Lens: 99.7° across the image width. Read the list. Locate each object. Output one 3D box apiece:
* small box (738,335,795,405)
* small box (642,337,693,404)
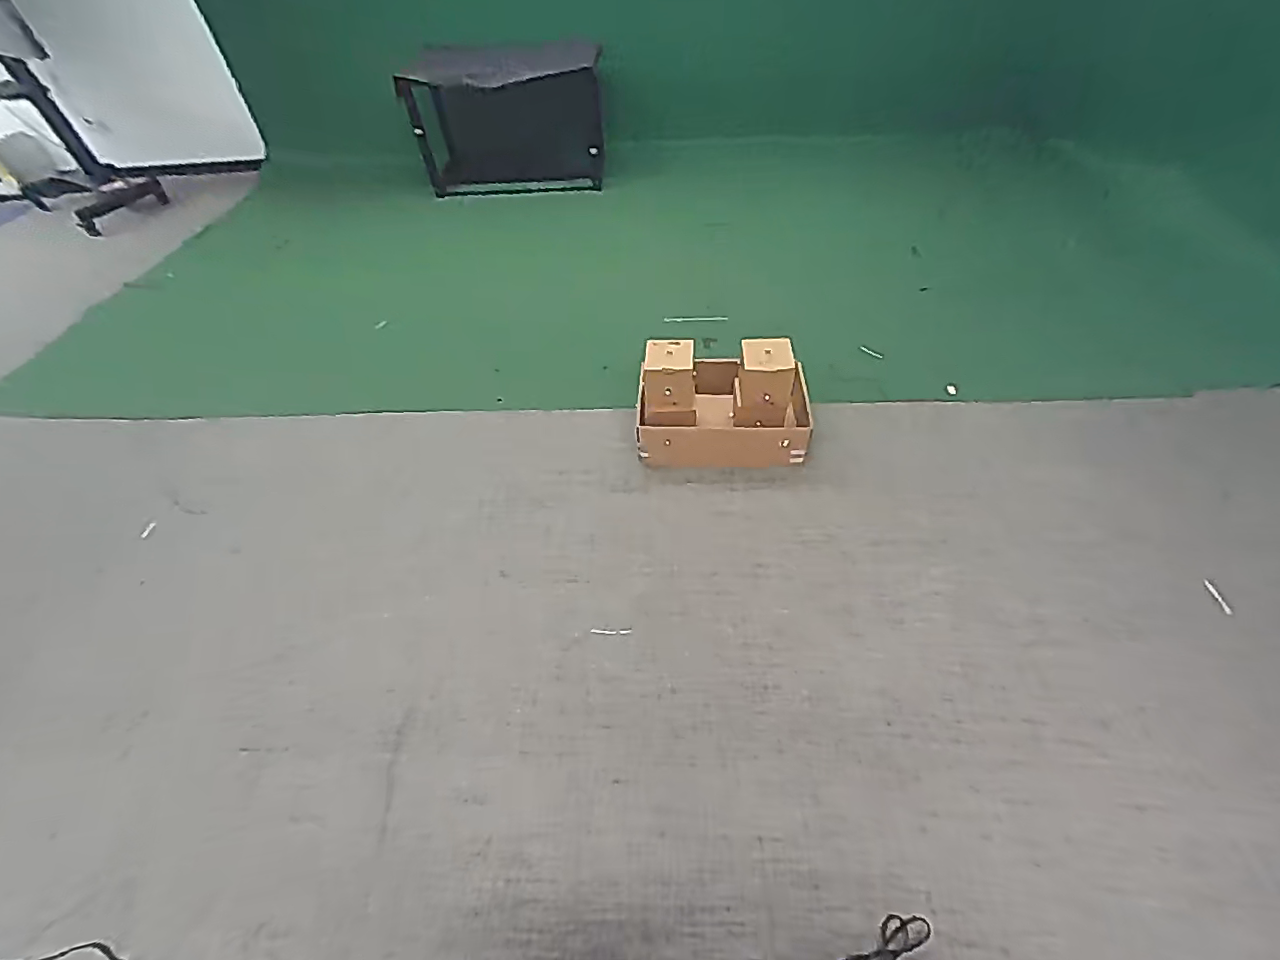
[{"bbox_3d":[0.430,-0.379,1.863,0.168,0.176,0.179,-1,50,5],"label":"small box"},{"bbox_3d":[0.099,-0.379,1.889,0.168,0.176,0.179,1,50,6],"label":"small box"}]
